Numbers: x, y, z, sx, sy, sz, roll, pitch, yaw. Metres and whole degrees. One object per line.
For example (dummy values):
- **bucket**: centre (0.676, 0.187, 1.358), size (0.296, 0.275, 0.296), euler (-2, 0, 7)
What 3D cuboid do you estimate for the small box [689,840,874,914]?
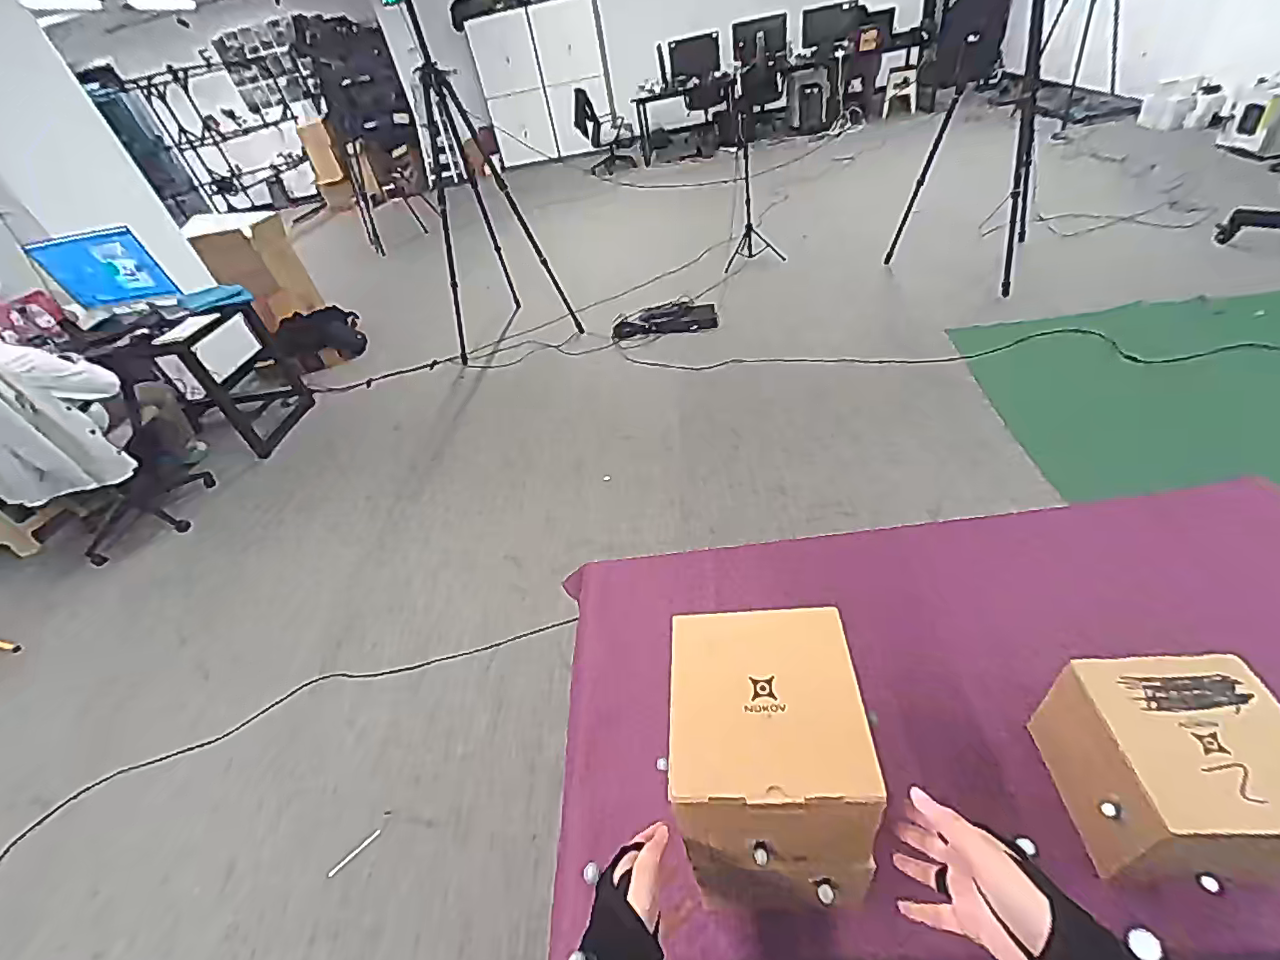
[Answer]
- **small box**: centre (0.152, 0.380, 0.626), size (0.179, 0.176, 0.168), euler (-7, 40, 9)

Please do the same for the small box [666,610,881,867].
- **small box**: centre (0.119, 0.251, 0.530), size (0.168, 0.176, 0.179), euler (-6, 41, 9)
